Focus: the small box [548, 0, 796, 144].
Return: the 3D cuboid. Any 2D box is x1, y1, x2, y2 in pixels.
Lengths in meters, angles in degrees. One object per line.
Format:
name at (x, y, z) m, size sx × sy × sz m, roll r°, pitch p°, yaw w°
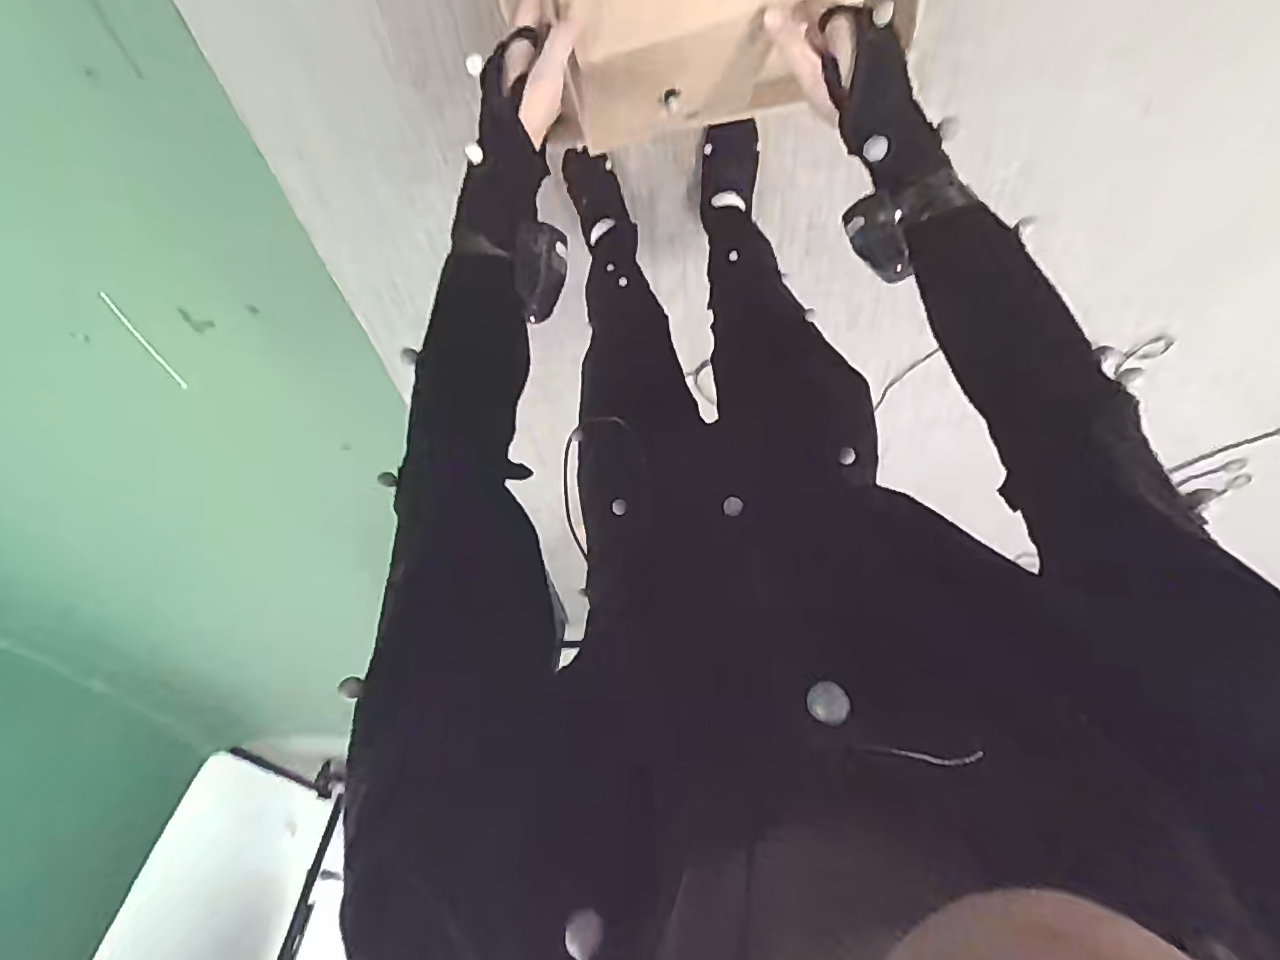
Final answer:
small box at (0.009, -0.410, 0.446) m, size 0.168 × 0.176 × 0.179 m, roll -16°, pitch 101°, yaw 0°
